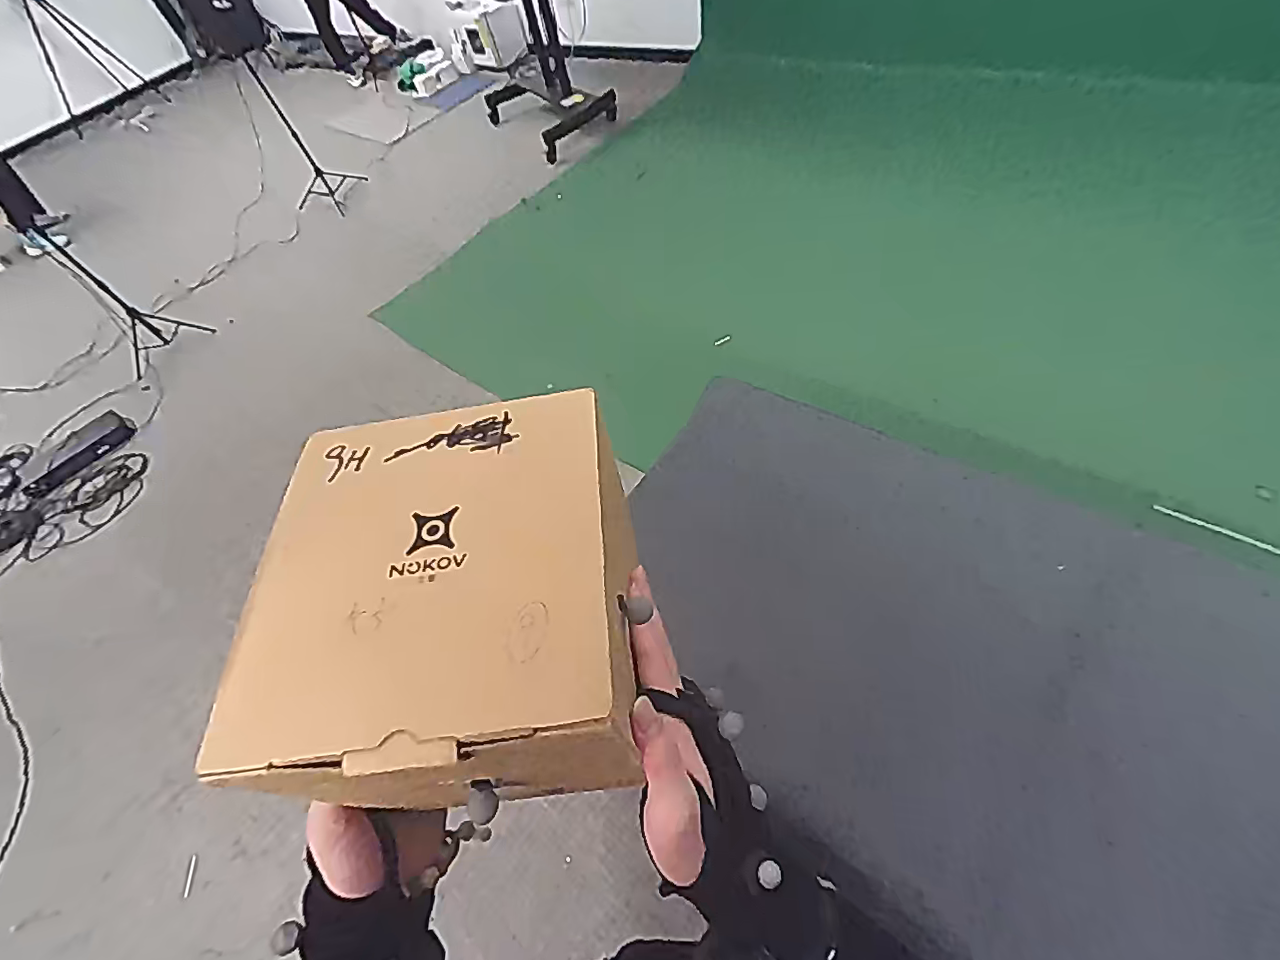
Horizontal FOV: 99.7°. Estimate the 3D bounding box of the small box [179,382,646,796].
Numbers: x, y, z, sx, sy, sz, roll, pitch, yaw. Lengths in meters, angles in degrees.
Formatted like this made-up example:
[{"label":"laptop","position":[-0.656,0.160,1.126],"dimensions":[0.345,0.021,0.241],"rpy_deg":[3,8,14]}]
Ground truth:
[{"label":"small box","position":[-0.090,0.073,0.309],"dimensions":[0.168,0.176,0.179],"rpy_deg":[-7,56,2]}]
